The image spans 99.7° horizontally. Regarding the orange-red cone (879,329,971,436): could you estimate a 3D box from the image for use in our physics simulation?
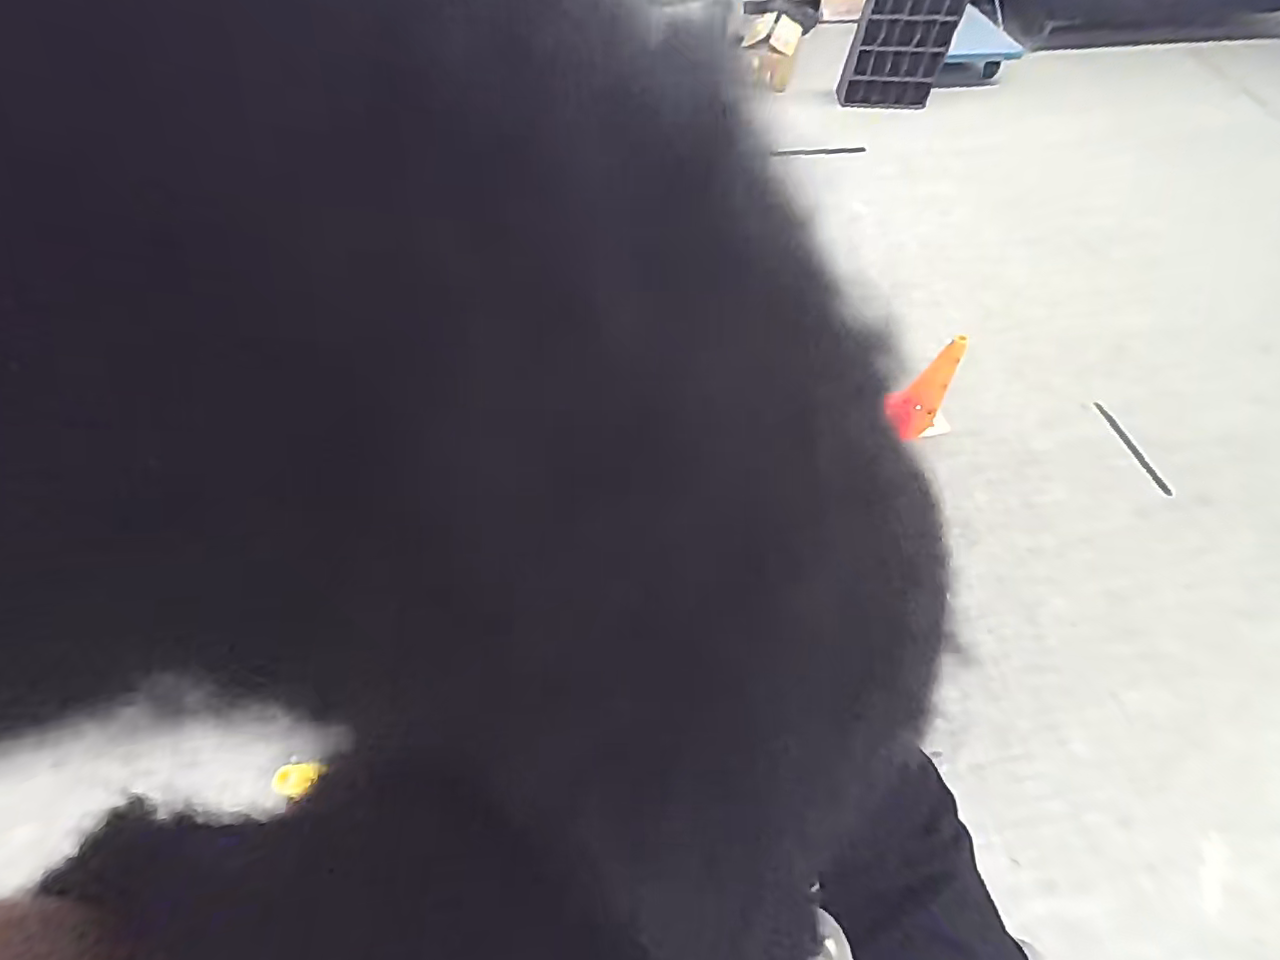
[{"bbox_3d":[0.947,-0.333,1.725,0.198,0.360,0.199,-9,56,-7],"label":"orange-red cone"}]
